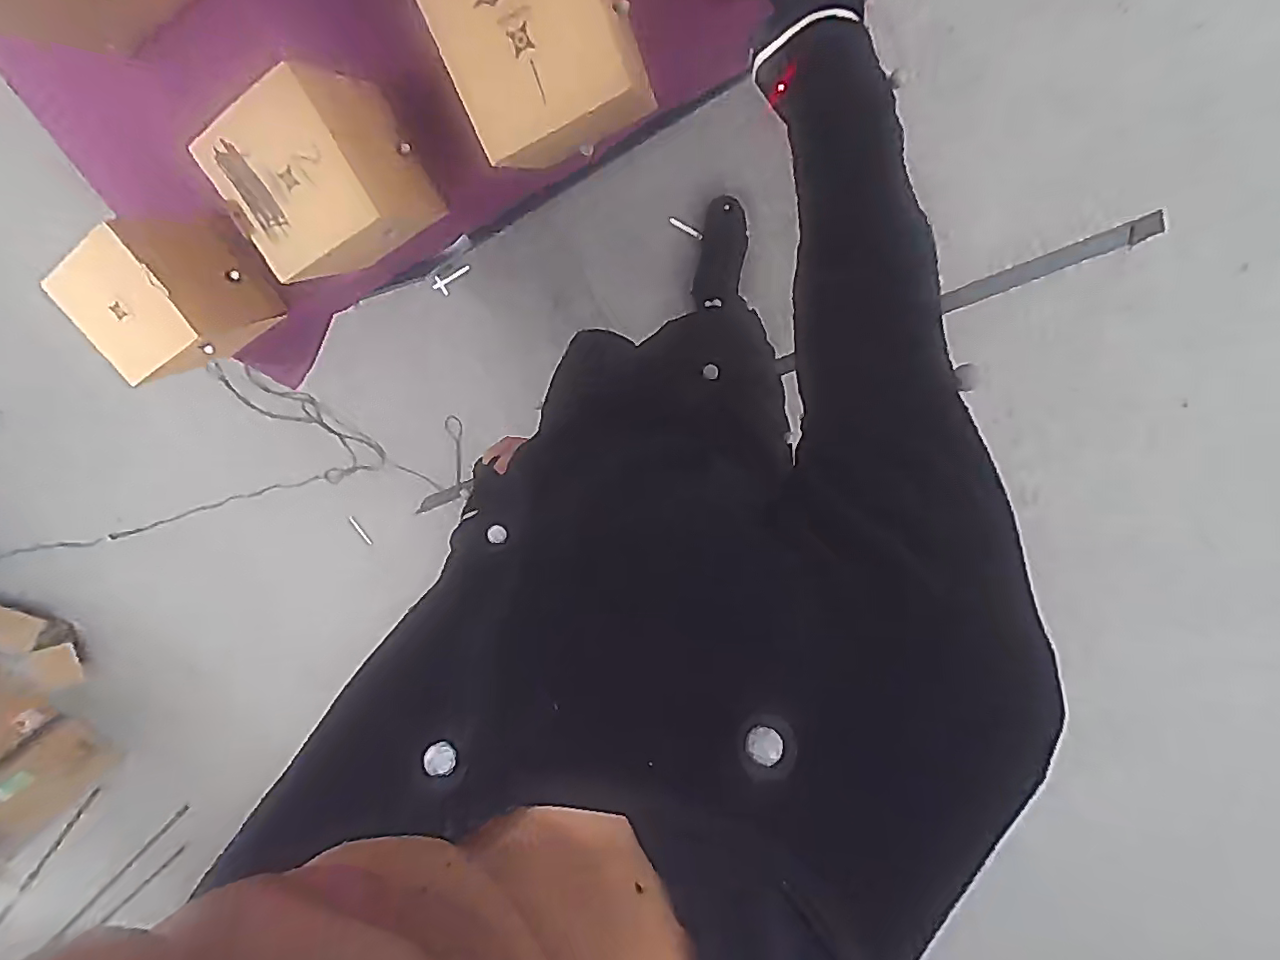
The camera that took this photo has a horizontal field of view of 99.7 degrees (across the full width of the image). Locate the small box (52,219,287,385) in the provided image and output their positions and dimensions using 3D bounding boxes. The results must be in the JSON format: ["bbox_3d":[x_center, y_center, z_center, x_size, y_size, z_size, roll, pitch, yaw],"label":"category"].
[{"bbox_3d":[-0.687,-0.269,0.811,0.179,0.176,0.168,-22,111,21],"label":"small box"}]
